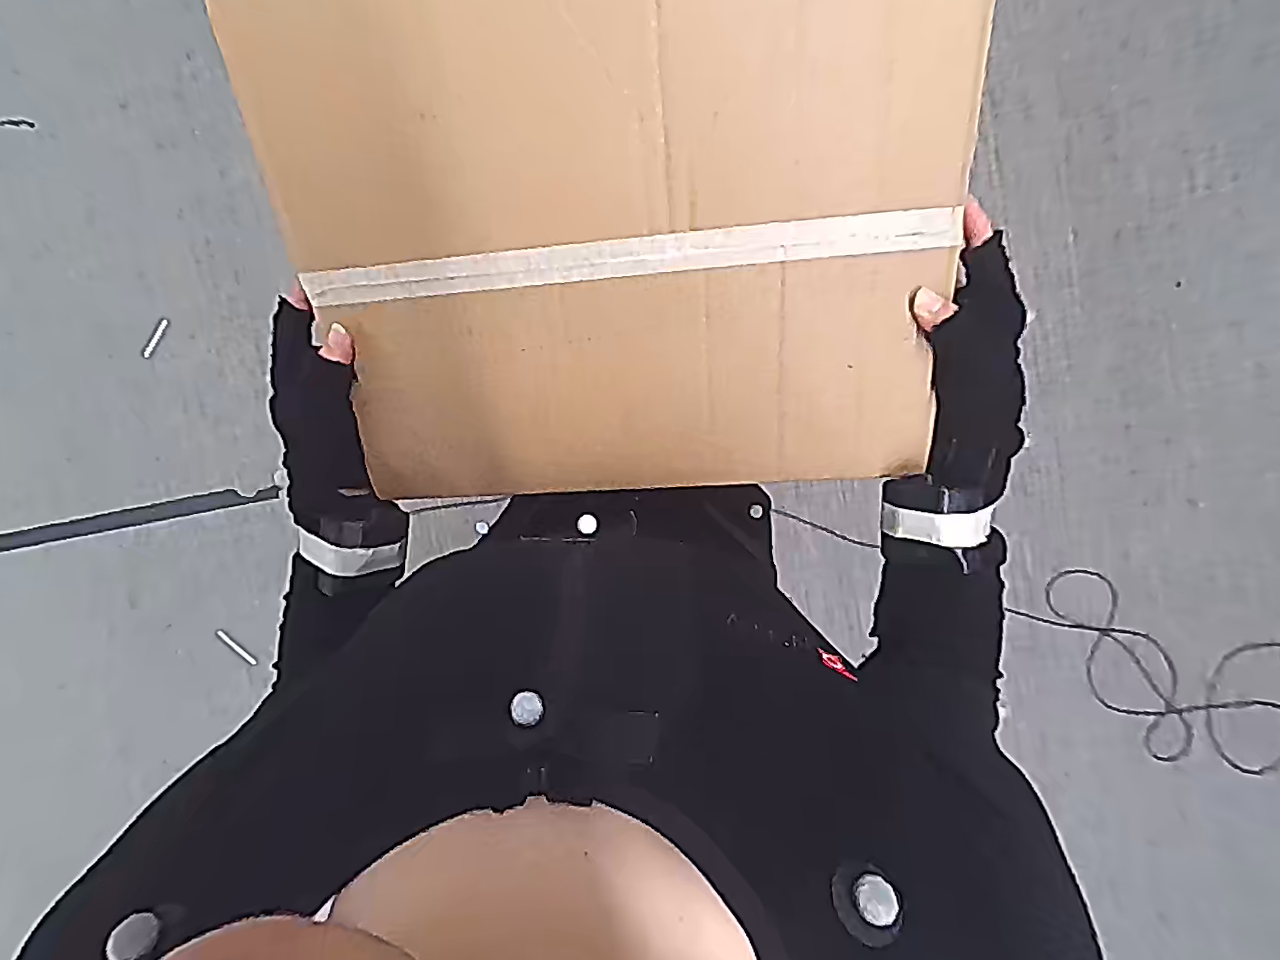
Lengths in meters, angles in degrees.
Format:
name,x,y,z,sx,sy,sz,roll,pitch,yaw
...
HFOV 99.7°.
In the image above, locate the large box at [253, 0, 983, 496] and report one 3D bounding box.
name,x,y,z,sx,sy,sz,roll,pitch,yaw
large box,0.000,-0.200,0.479,0.408,0.320,0.320,-3,117,6
